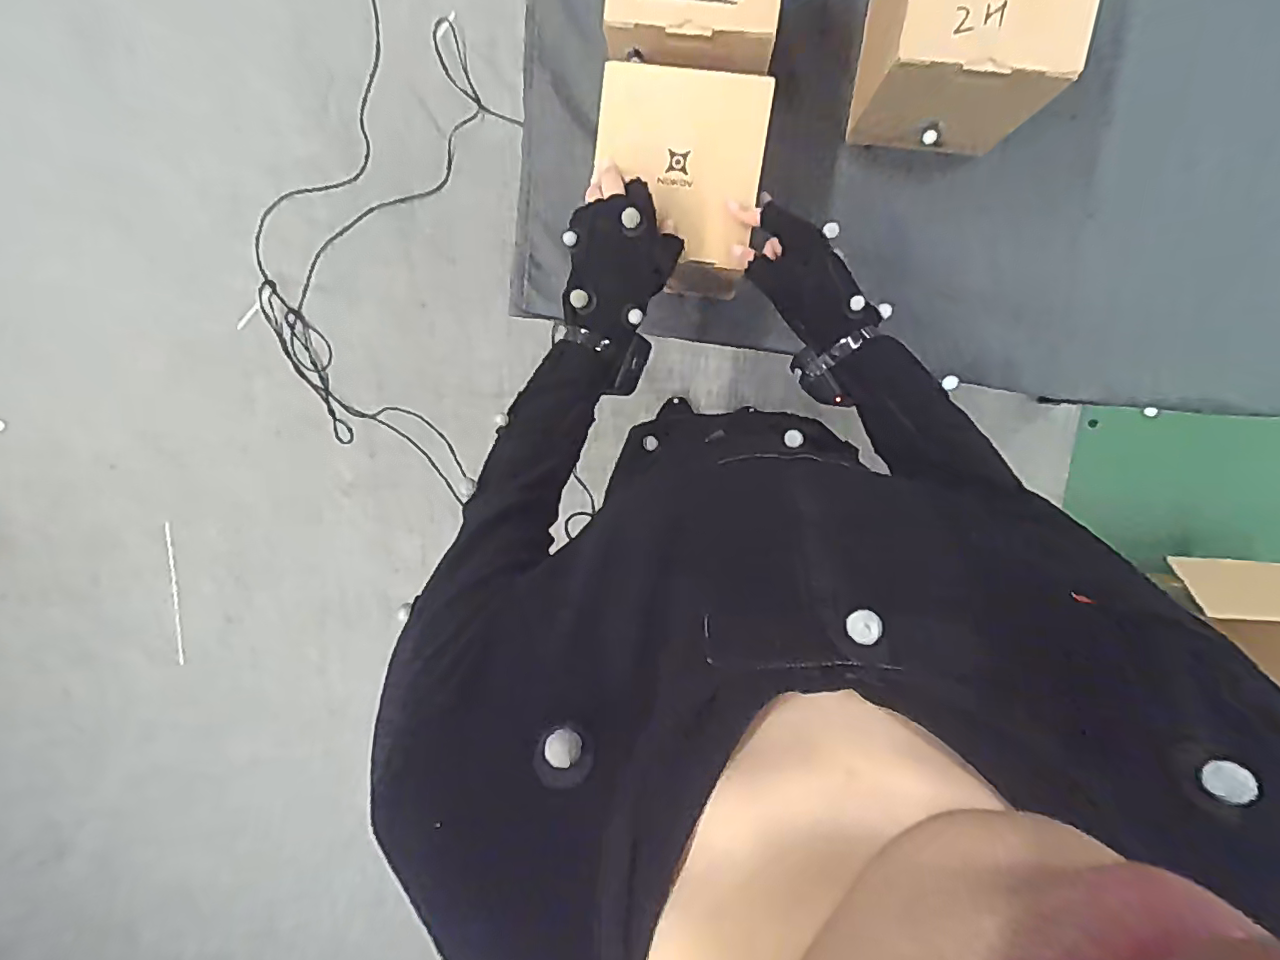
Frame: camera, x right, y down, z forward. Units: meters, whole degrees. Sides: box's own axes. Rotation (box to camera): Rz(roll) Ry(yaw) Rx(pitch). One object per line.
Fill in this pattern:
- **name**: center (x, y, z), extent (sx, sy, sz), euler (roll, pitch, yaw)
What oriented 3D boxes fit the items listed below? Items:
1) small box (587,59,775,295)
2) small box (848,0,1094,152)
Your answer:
- **small box**: center (0.042, -0.321, 0.608), extent (0.168, 0.176, 0.179), euler (8, 100, 3)
- **small box**: center (0.333, -0.477, 0.561), extent (0.168, 0.176, 0.179), euler (8, 100, 3)
